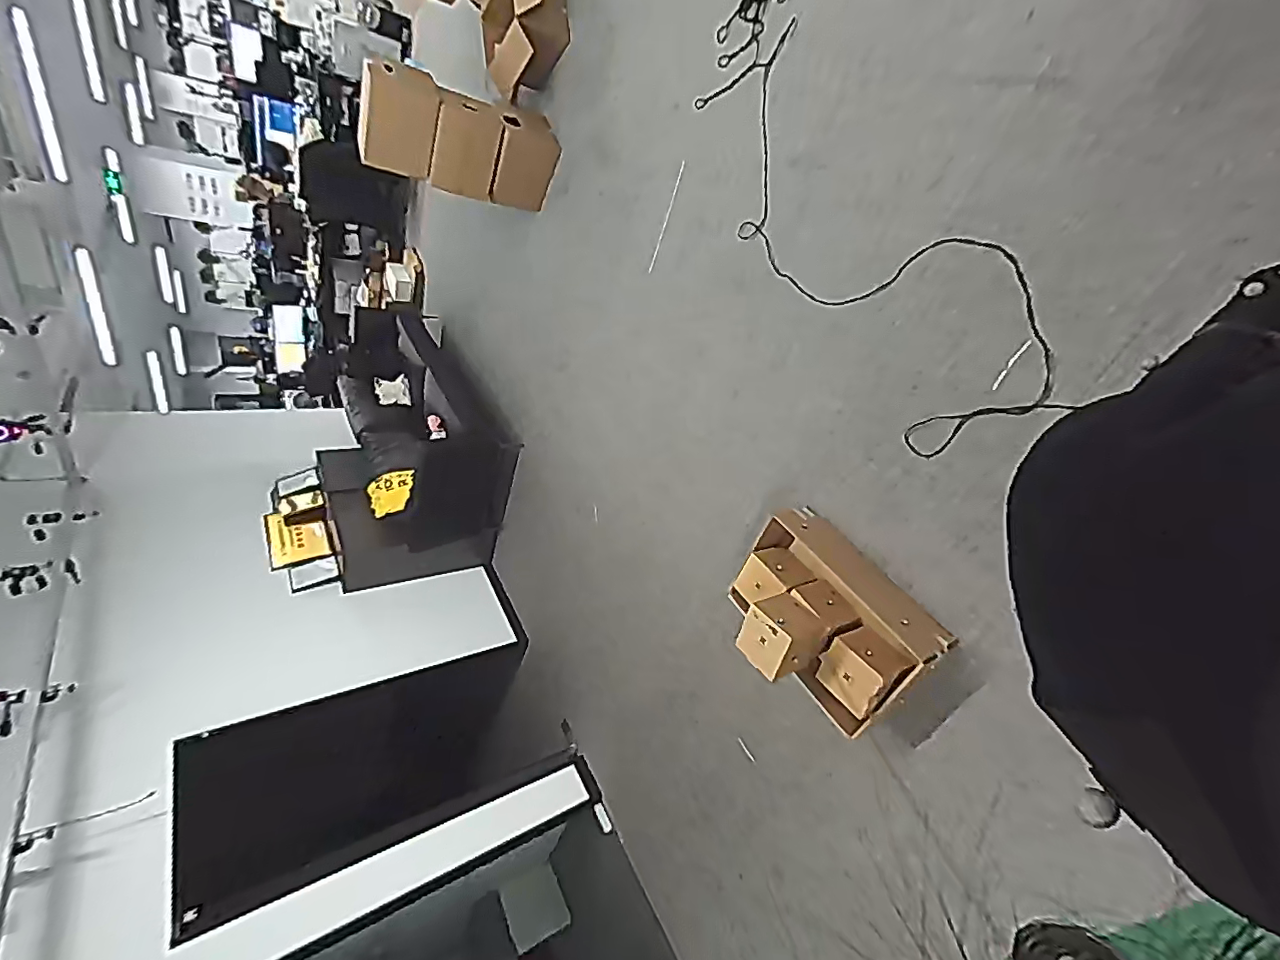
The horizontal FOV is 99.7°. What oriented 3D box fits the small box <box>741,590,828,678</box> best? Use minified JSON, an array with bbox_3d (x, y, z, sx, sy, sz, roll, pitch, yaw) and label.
[{"bbox_3d":[0.444,0.465,1.655,0.168,0.176,0.179,41,127,43],"label":"small box"}]
